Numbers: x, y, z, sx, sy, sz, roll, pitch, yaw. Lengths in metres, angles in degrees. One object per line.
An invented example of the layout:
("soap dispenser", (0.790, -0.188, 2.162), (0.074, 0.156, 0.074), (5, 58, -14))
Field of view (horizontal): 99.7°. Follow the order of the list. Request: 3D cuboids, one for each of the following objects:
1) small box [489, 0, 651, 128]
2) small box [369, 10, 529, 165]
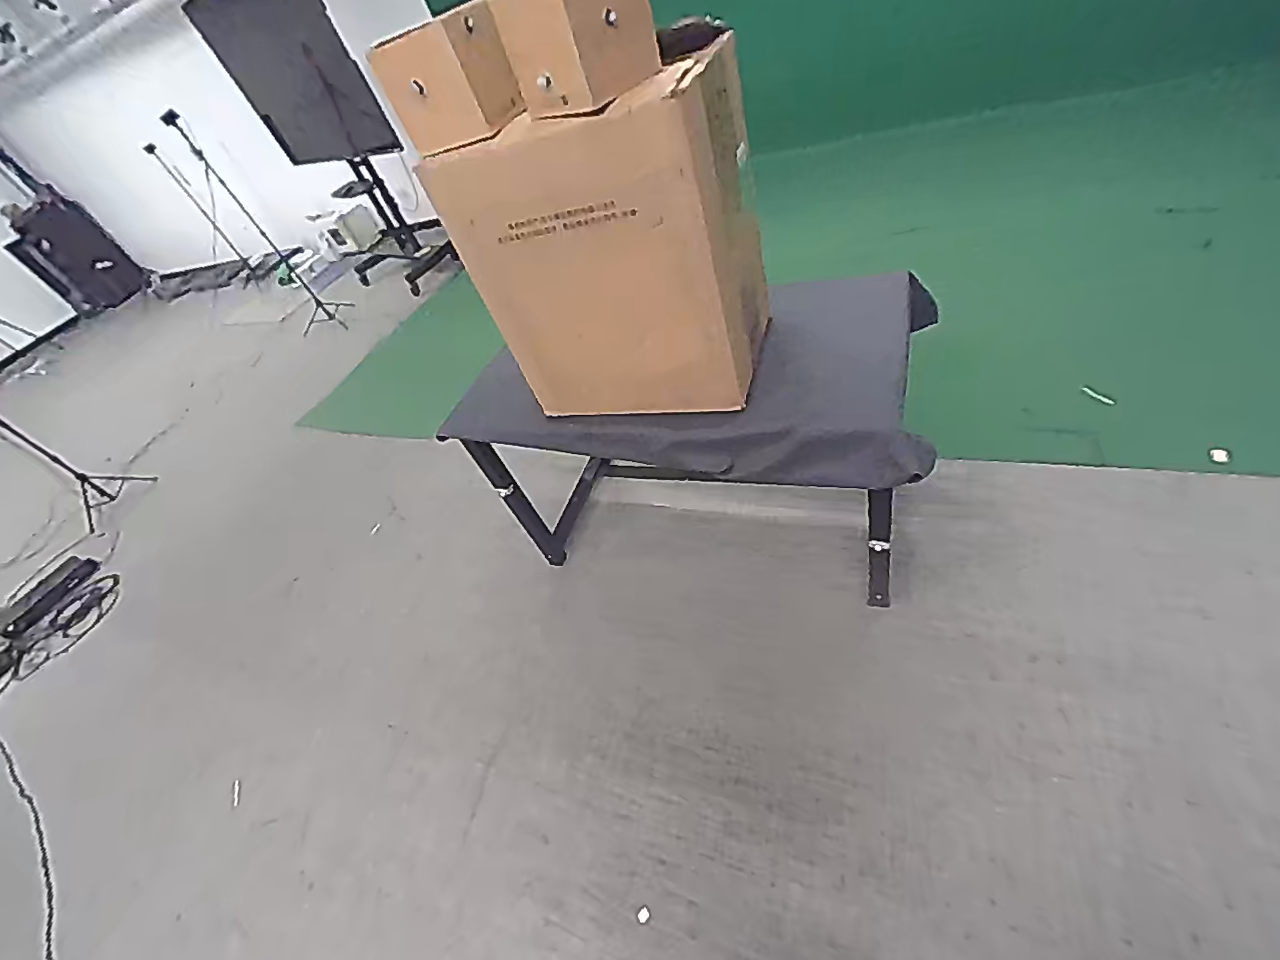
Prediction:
("small box", (-0.101, -0.697, 0.874), (0.168, 0.176, 0.179), (24, 61, 38))
("small box", (-0.337, -0.703, 0.984), (0.179, 0.176, 0.168), (0, 49, 26))
